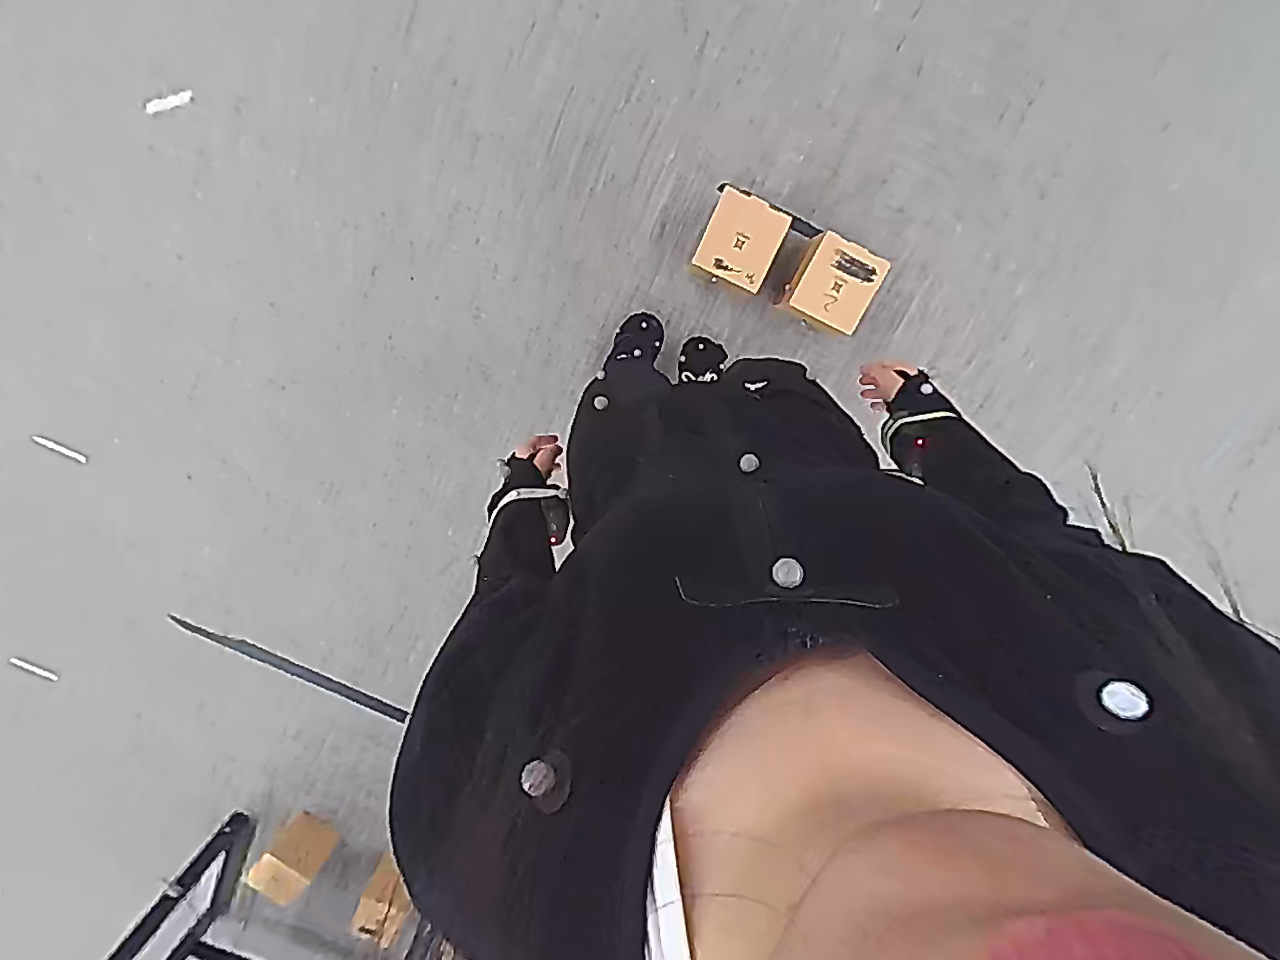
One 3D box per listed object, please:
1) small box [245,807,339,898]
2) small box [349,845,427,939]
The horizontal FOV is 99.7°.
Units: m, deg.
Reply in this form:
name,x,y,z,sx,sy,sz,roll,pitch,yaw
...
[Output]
name,x,y,z,sx,sy,sz,roll,pitch,yaw
small box,-1.185,1.265,1.853,0.179,0.176,0.168,42,103,-11
small box,-0.872,1.434,1.887,0.168,0.176,0.179,25,105,-5
